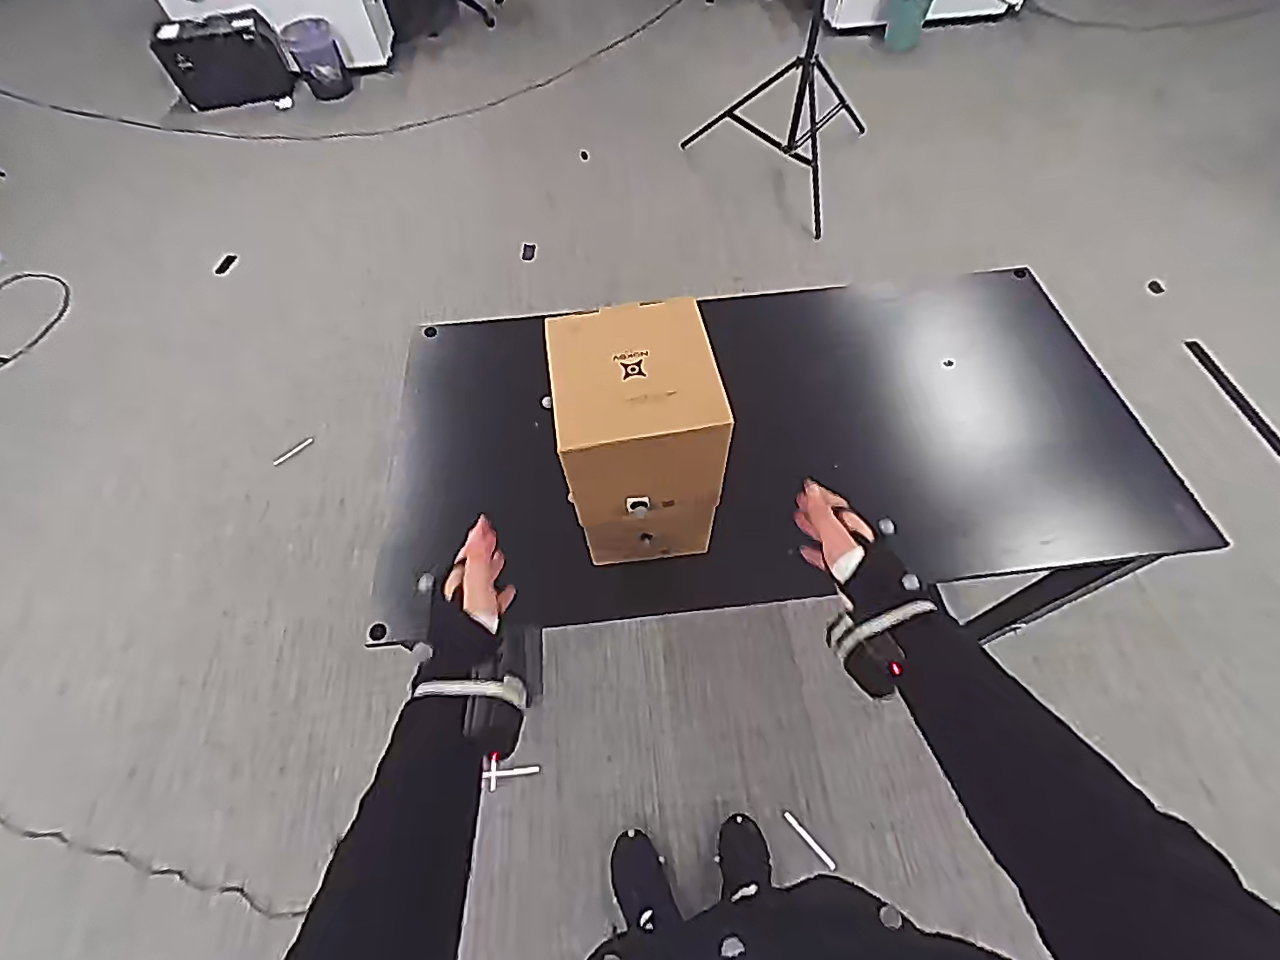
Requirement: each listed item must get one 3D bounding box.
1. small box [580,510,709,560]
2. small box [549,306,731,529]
[{"bbox_3d":[0.004,0.004,0.762,0.168,0.176,0.179,-6,59,-2],"label":"small box"},{"bbox_3d":[-0.004,-0.066,0.614,0.168,0.176,0.179,-9,60,-2],"label":"small box"}]
